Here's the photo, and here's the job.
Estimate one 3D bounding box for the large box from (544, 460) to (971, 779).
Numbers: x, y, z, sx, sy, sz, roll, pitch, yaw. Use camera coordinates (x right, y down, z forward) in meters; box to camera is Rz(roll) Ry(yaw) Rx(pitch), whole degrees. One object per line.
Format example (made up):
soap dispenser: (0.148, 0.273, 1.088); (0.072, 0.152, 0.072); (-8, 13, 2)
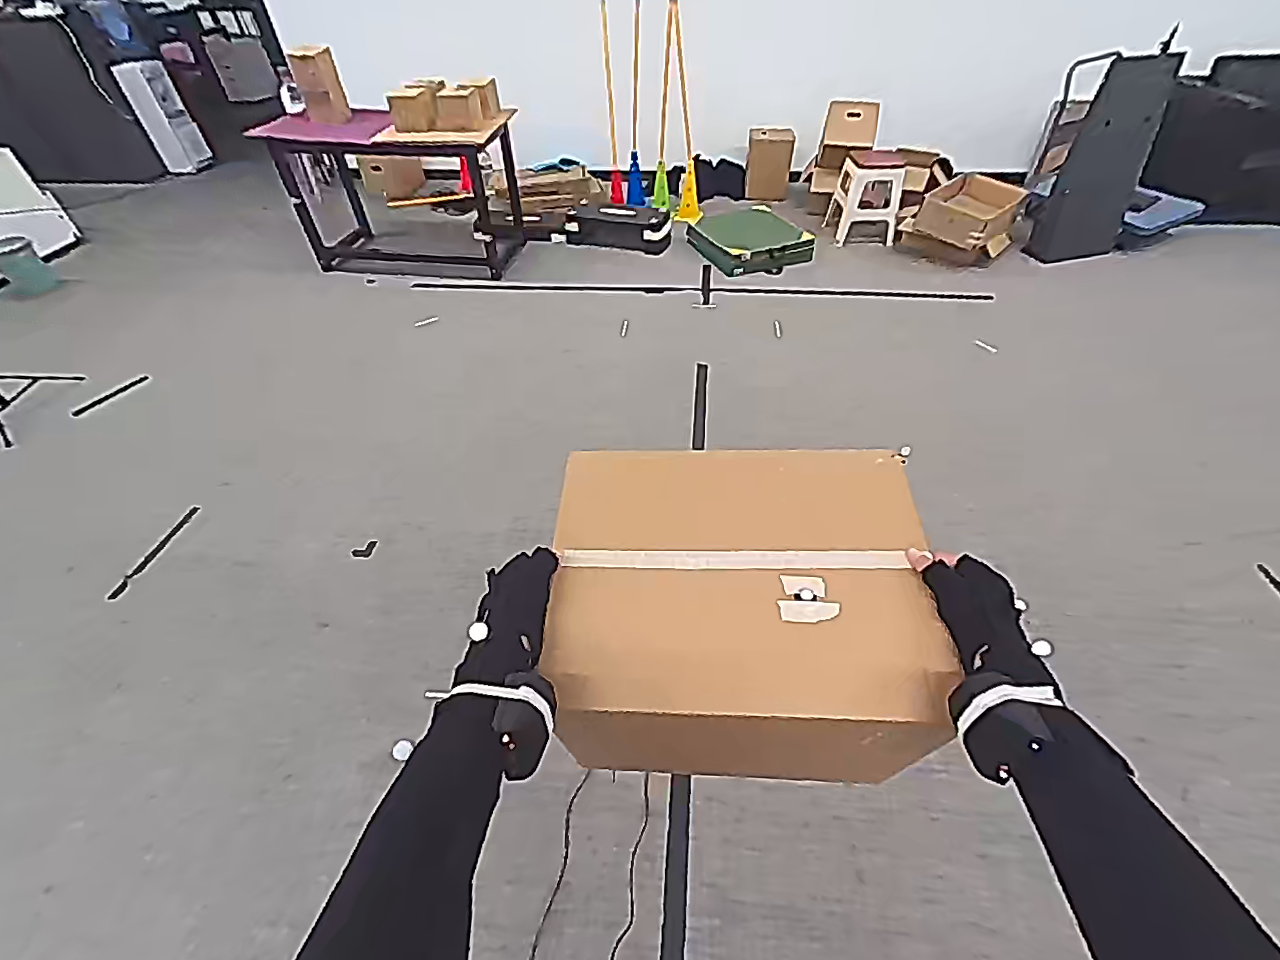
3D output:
large box: (0.118, 0.190, 0.709); (0.408, 0.320, 0.320); (0, 53, 5)
